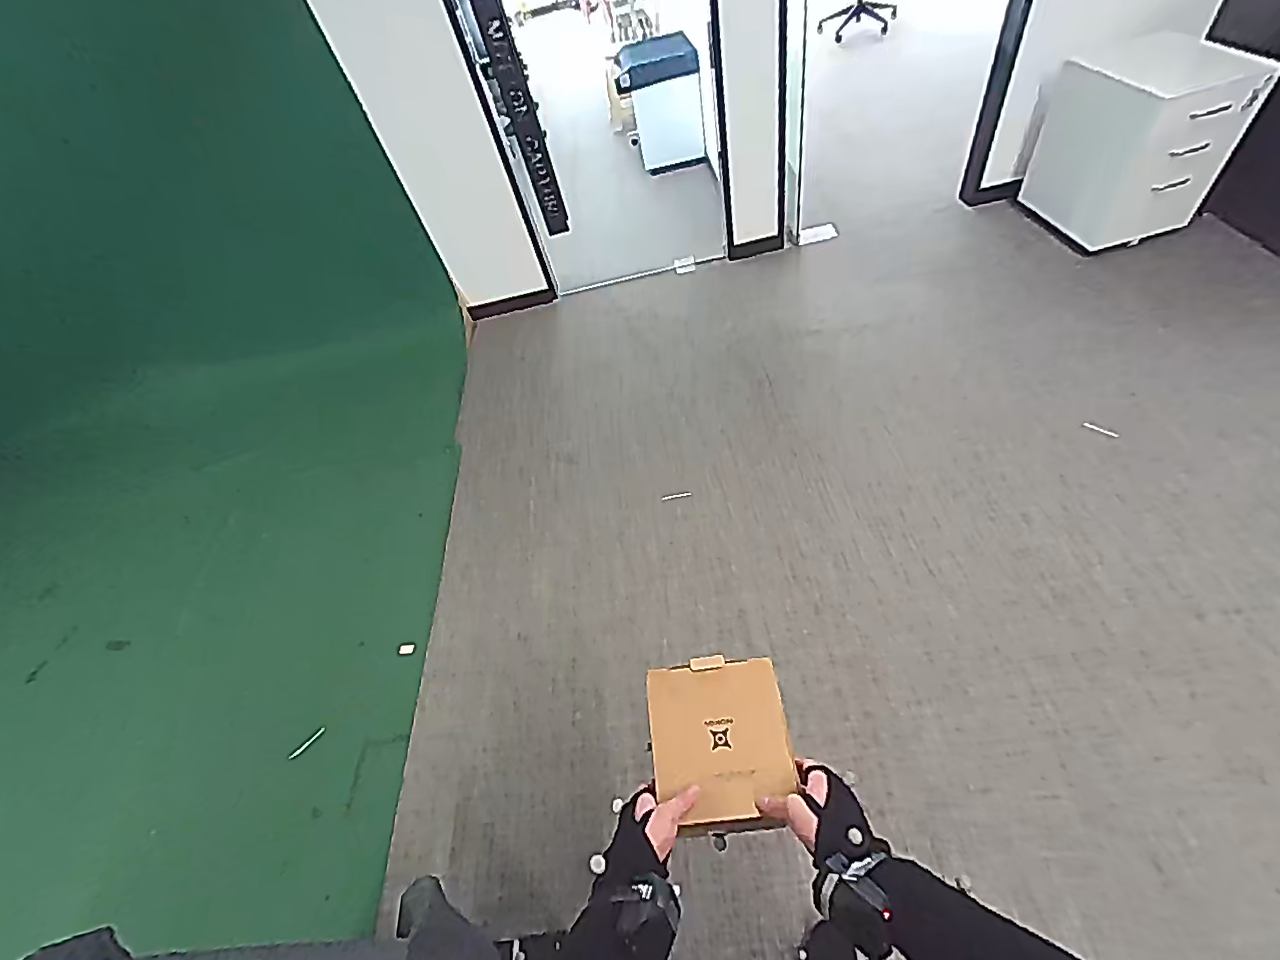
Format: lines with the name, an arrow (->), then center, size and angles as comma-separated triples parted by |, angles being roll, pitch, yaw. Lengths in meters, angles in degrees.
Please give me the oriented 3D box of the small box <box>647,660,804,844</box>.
small box -> 0.100, 0.350, 0.692 | 0.168, 0.176, 0.179 | -7, 52, 4
